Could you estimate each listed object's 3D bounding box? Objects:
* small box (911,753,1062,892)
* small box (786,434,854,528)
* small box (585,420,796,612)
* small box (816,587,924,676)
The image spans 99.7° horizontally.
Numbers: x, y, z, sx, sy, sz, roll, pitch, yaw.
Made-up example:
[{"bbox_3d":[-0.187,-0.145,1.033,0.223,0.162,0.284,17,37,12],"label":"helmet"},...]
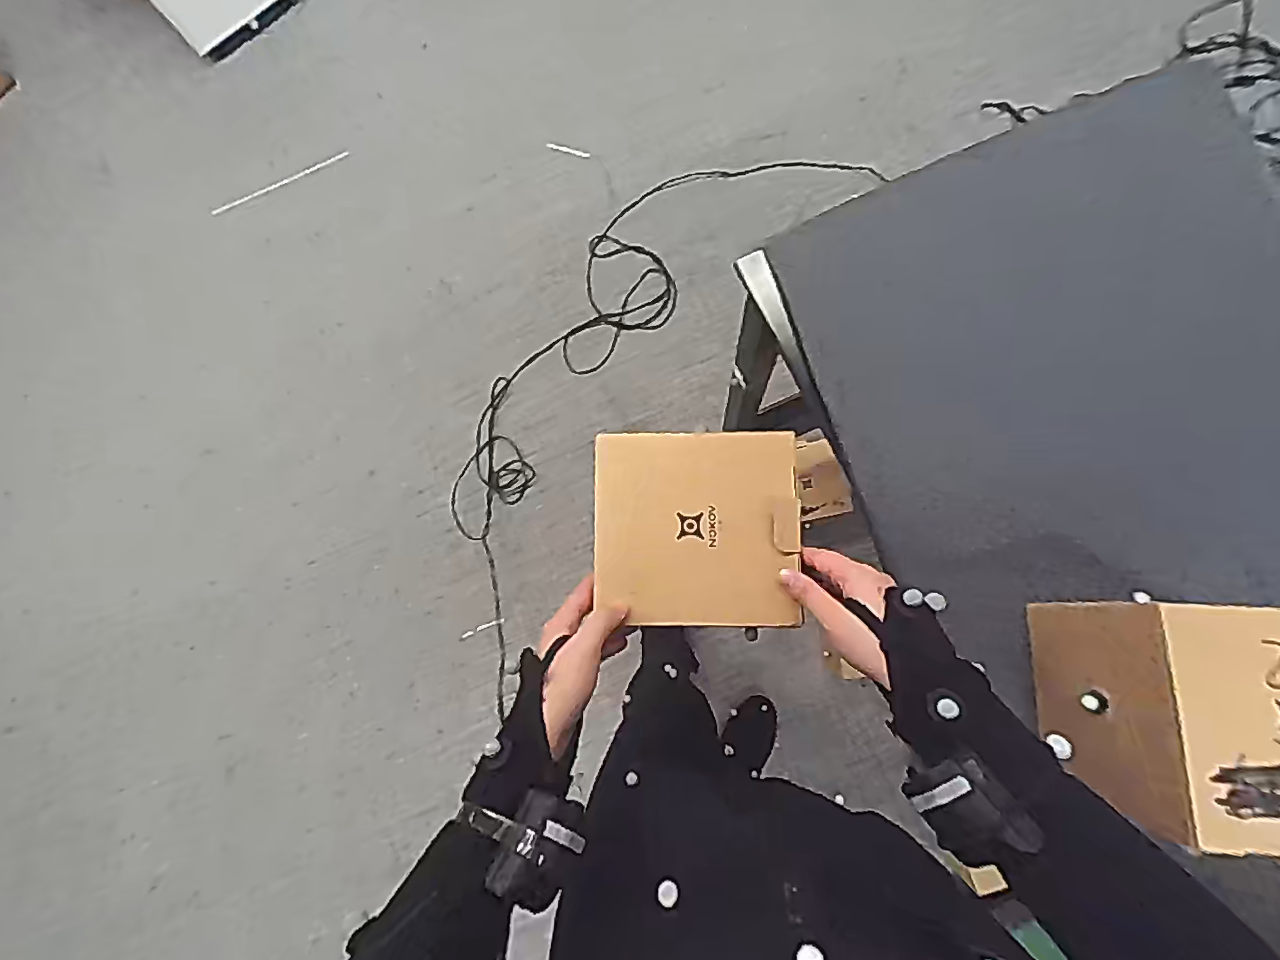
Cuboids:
[{"bbox_3d":[0.684,0.675,1.093,0.168,0.176,0.179,-18,78,2],"label":"small box"},{"bbox_3d":[0.376,0.011,1.269,0.168,0.176,0.179,-11,76,3],"label":"small box"},{"bbox_3d":[0.045,0.045,0.538,0.179,0.176,0.168,-1,79,2],"label":"small box"},{"bbox_3d":[0.496,0.327,1.188,0.168,0.176,0.179,-3,76,4],"label":"small box"}]
